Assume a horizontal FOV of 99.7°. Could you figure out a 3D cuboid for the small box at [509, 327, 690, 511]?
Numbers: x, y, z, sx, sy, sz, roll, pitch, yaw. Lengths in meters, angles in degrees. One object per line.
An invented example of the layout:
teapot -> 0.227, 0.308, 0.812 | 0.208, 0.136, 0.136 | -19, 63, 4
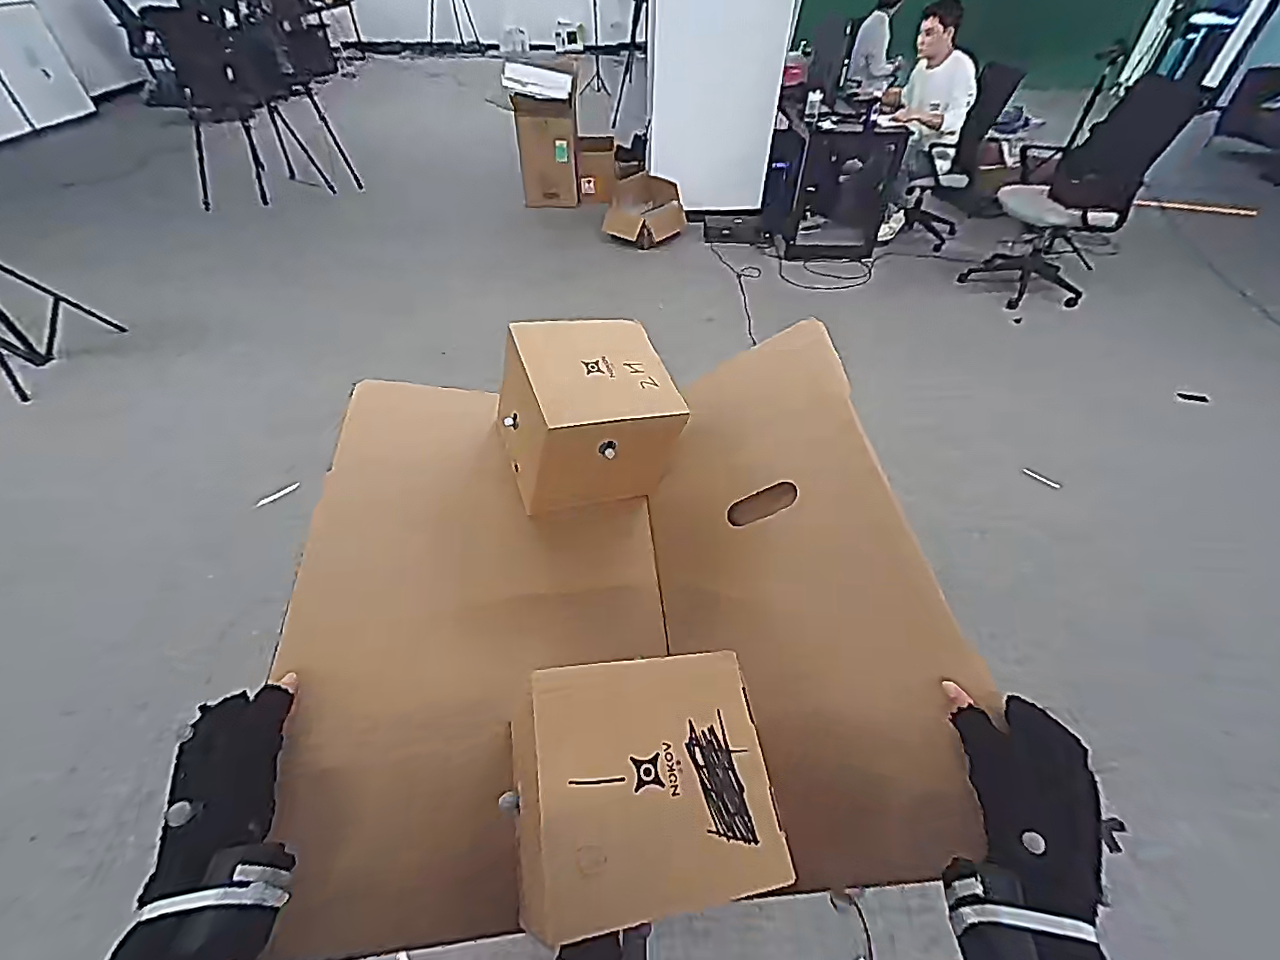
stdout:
small box -> -0.066, -0.076, 0.696 | 0.179, 0.176, 0.168 | -8, 58, -26
